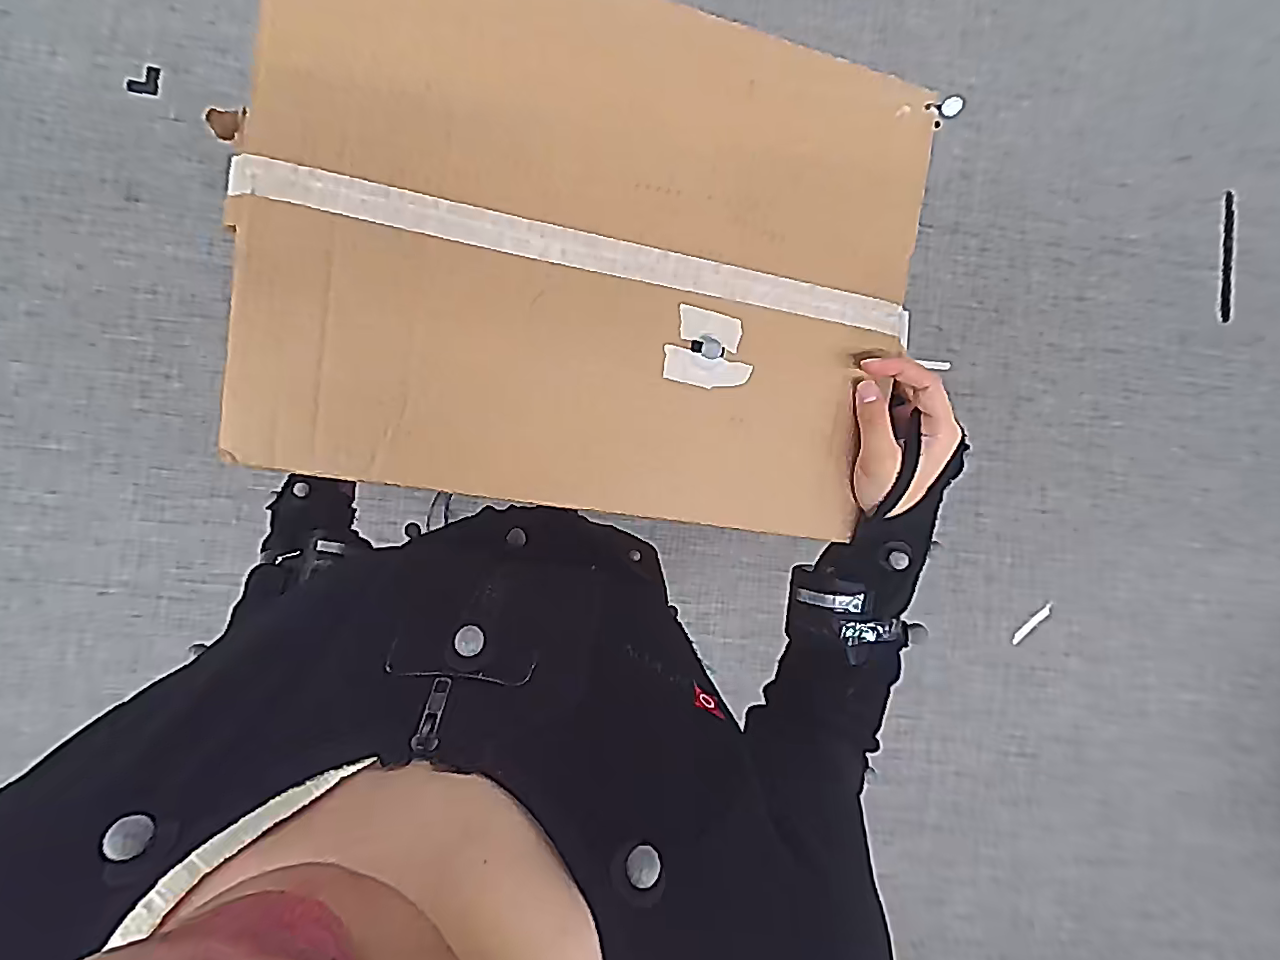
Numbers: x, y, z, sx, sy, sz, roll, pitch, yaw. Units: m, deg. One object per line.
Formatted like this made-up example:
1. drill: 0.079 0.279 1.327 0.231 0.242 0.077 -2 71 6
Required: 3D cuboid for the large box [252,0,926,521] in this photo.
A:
1. large box: -0.044 -0.156 0.486 0.408 0.320 0.320 8 95 -14
